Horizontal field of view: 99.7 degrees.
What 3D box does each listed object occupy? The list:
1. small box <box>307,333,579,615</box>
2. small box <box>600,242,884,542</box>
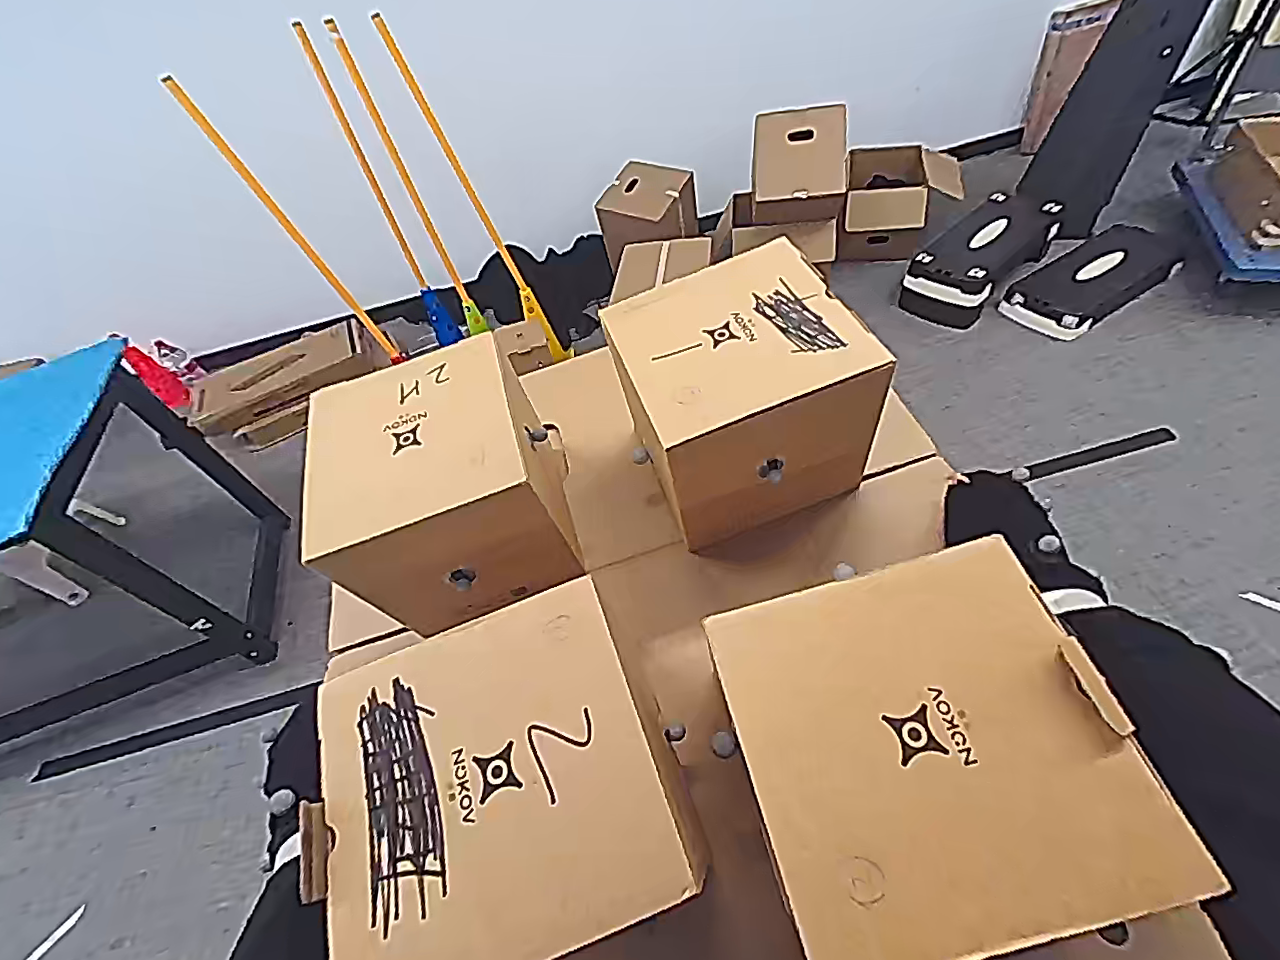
[{"bbox_3d":[-0.166,0.006,0.493,0.168,0.176,0.179,-19,55,-1],"label":"small box"},{"bbox_3d":[0.083,-0.070,0.487,0.179,0.176,0.168,-21,56,0],"label":"small box"}]
